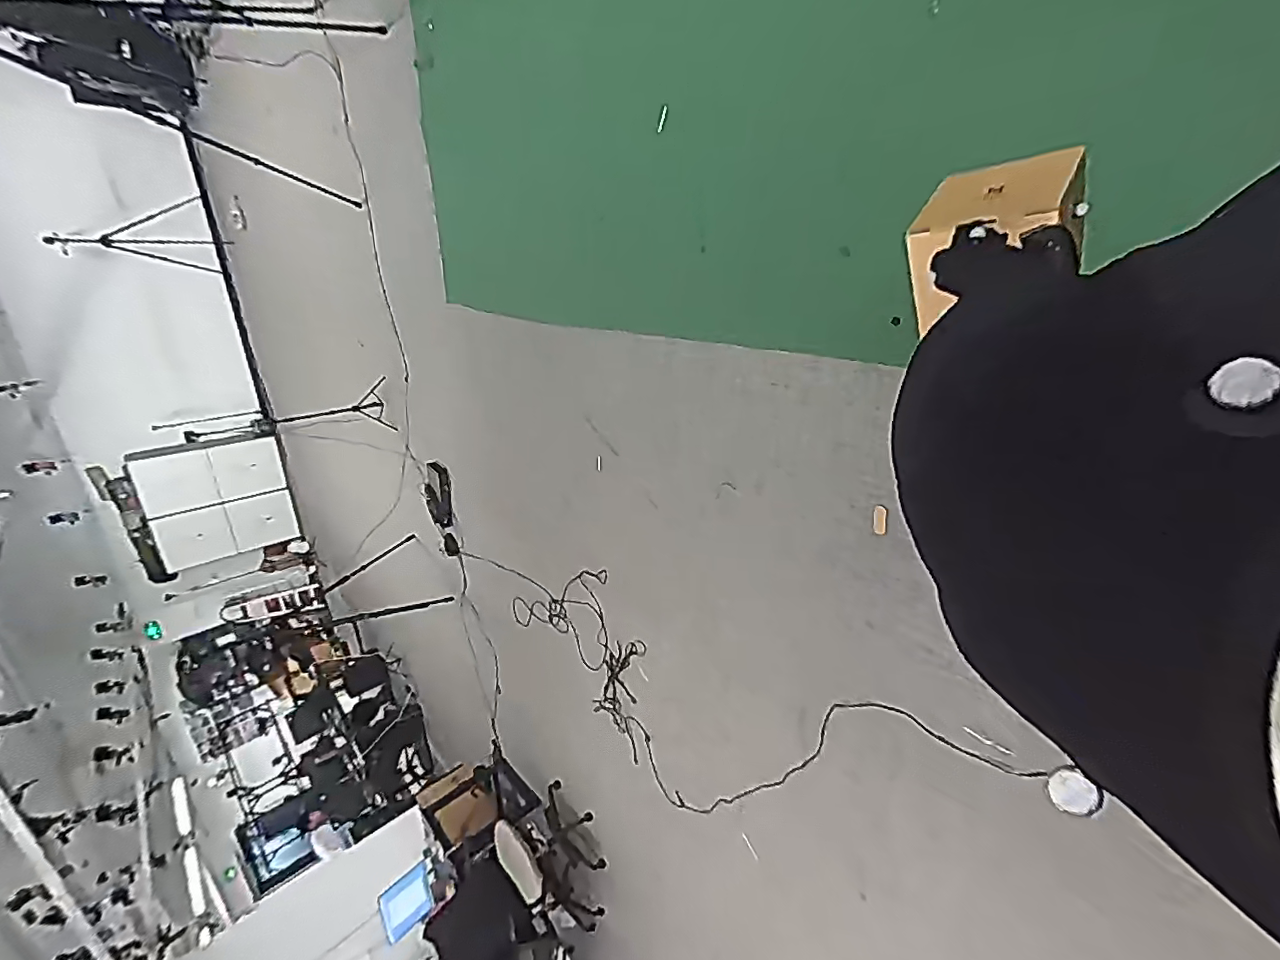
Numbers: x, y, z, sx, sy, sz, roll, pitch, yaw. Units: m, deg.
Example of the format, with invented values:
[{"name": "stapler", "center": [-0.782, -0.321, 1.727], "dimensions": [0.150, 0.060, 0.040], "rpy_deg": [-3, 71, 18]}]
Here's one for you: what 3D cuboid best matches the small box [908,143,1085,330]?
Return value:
[{"name": "small box", "center": [0.496, -0.329, 0.757], "dimensions": [0.168, 0.179, 0.176], "rpy_deg": [11, 143, 43]}]
